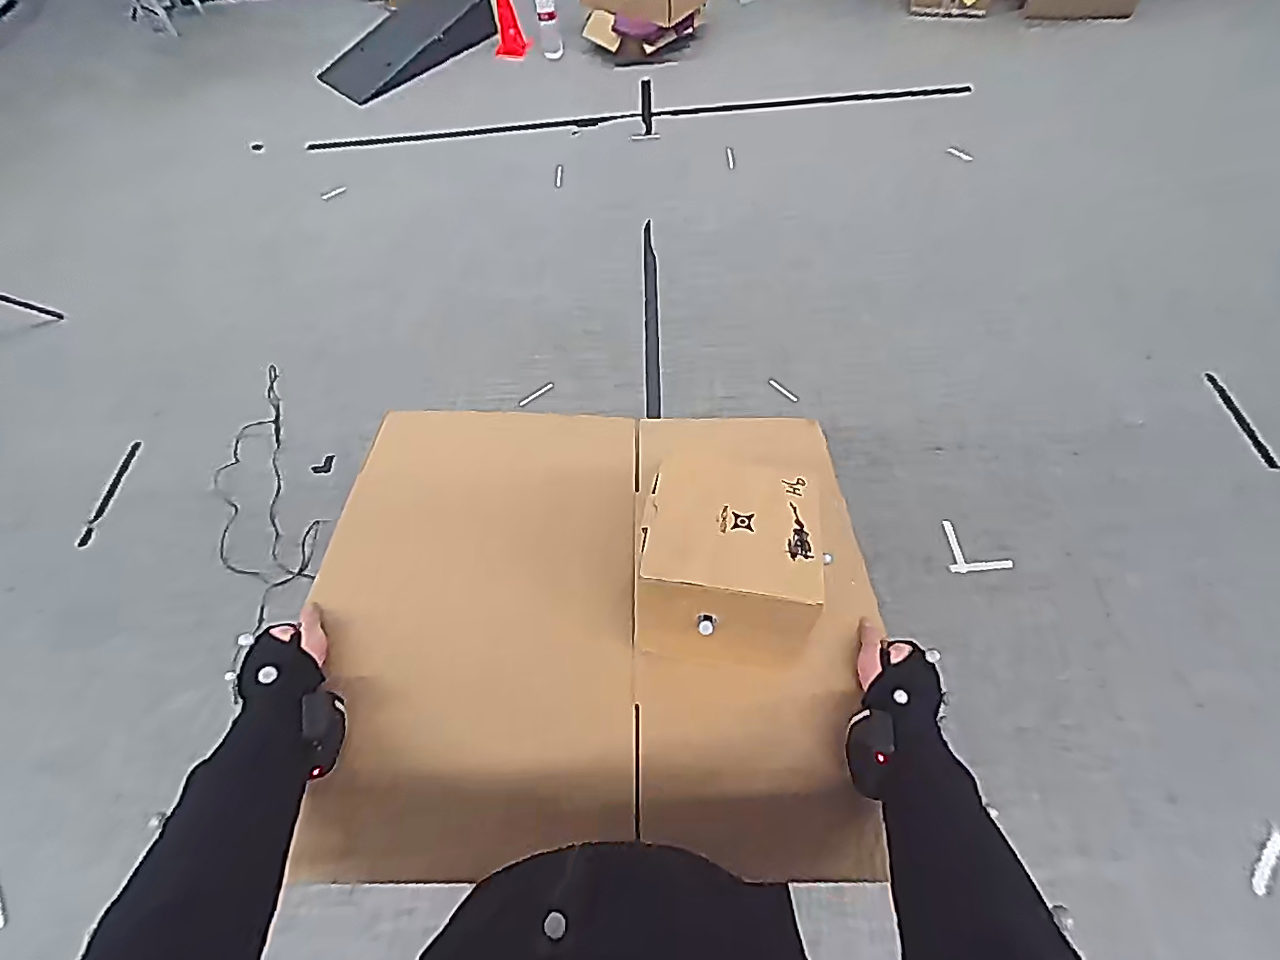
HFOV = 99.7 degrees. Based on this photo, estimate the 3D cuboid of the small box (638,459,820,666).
[{"bbox_3d":[0.098,0.097,0.622,0.179,0.176,0.168,6,50,7],"label":"small box"}]
